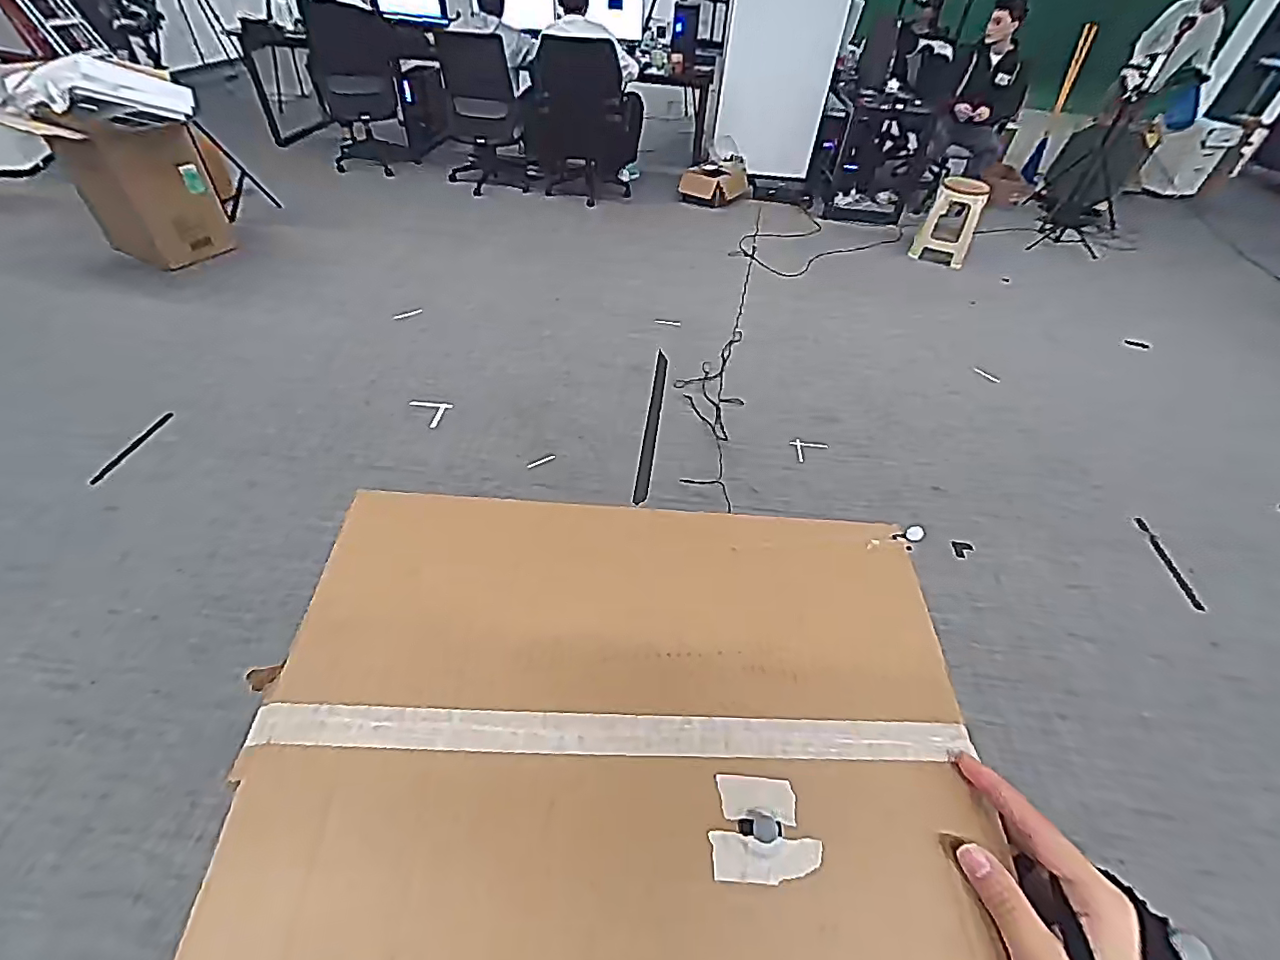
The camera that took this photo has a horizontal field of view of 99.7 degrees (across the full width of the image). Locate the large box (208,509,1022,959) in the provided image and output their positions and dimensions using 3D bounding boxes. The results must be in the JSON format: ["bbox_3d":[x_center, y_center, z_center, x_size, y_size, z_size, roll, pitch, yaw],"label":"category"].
[{"bbox_3d":[-0.018,0.243,0.438,0.408,0.320,0.320,4,54,-5],"label":"large box"}]
